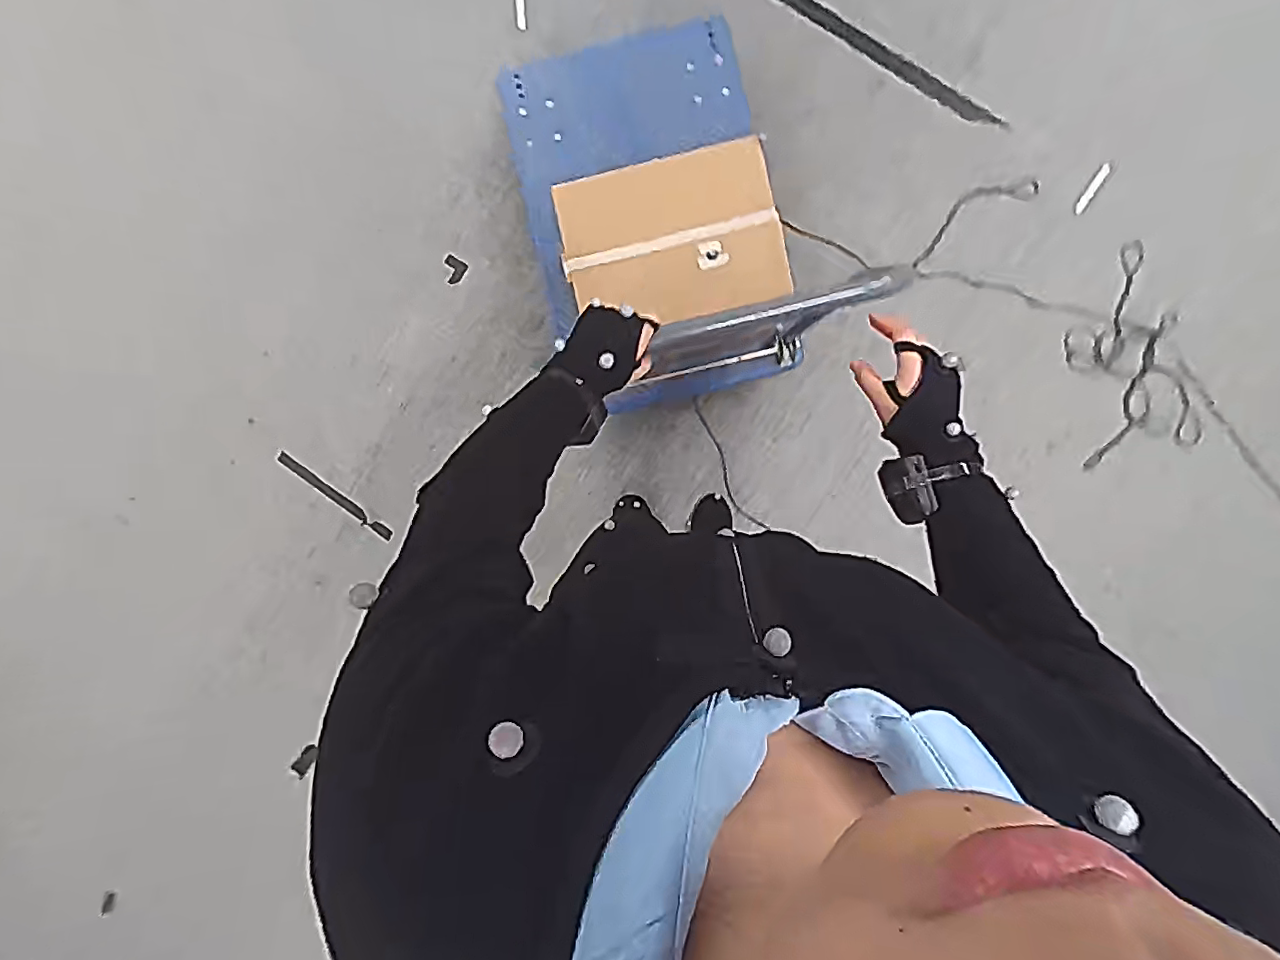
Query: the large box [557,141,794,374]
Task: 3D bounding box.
[{"bbox_3d":[0.069,-0.449,1.174,0.408,0.320,0.320,-13,91,1],"label":"large box"}]
